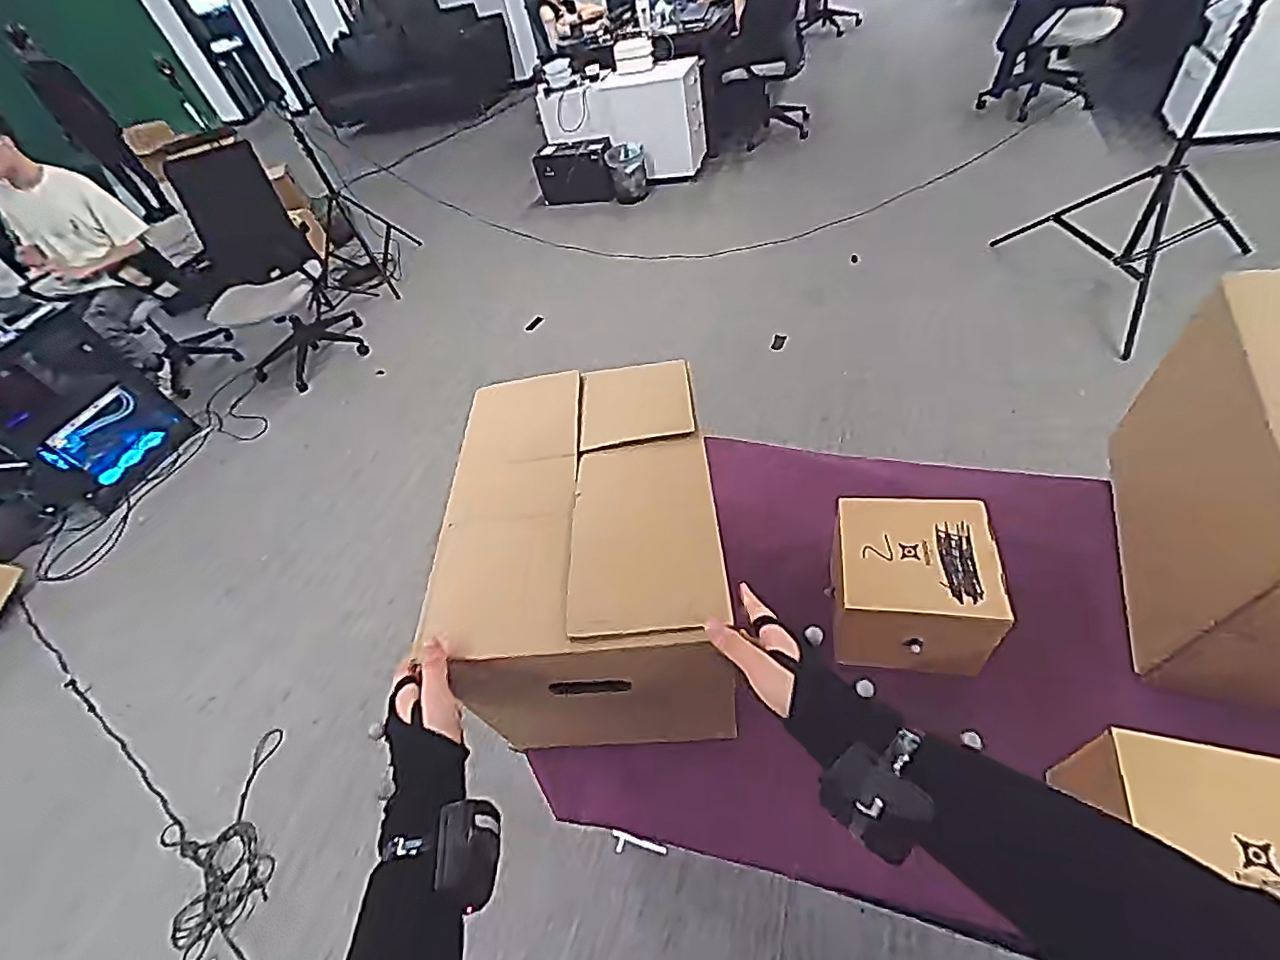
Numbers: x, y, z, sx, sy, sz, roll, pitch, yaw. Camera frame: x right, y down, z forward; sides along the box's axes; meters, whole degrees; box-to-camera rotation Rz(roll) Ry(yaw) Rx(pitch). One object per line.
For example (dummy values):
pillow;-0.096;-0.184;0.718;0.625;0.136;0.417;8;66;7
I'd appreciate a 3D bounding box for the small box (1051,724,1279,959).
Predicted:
small box;0.504;0.351;0.486;0.168;0.176;0.179;5;52;19
